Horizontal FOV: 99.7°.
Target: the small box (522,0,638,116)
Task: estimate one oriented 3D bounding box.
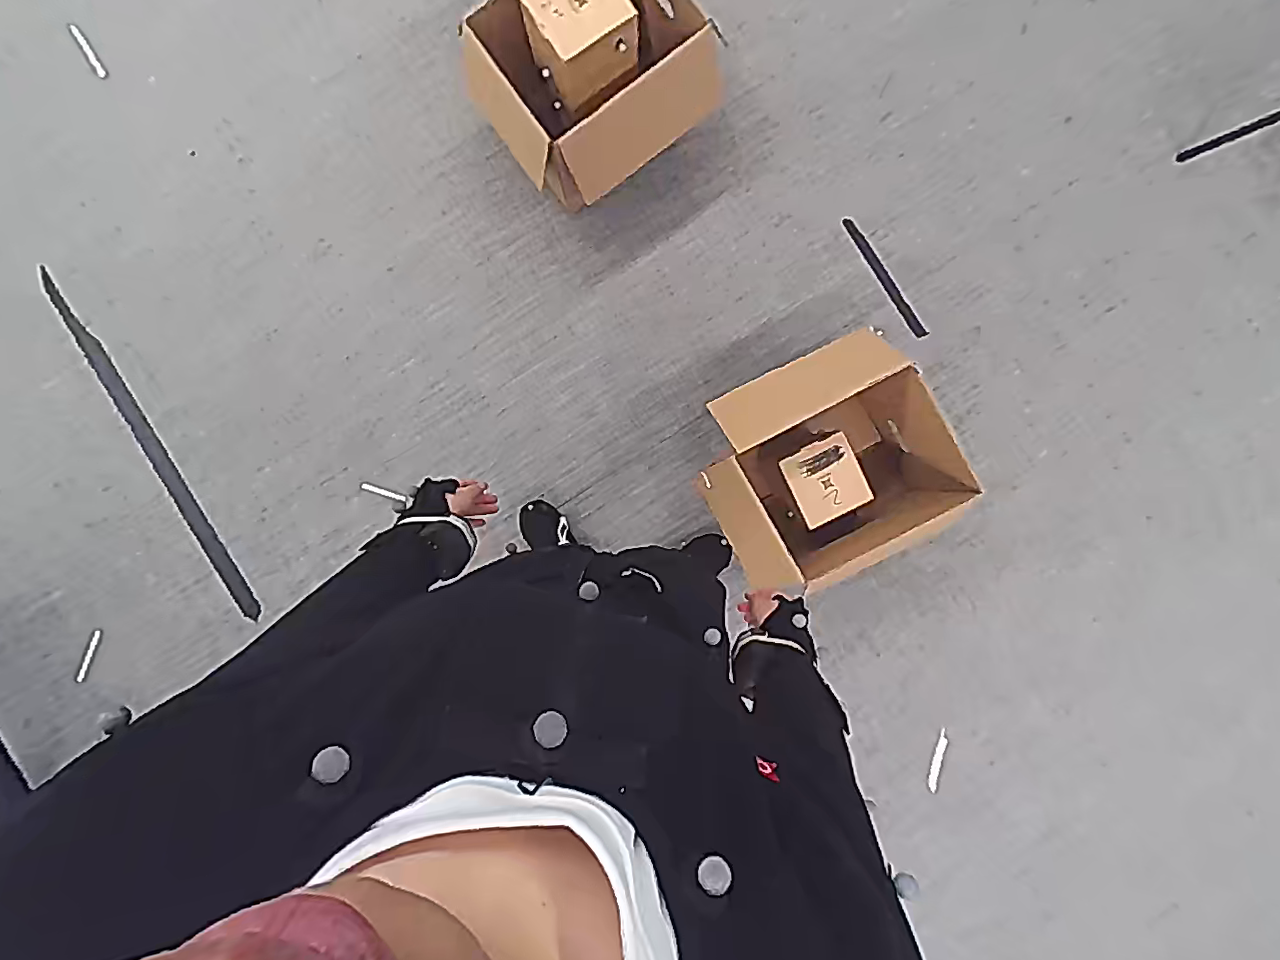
[{"bbox_3d":[-0.119,-0.922,1.131,0.179,0.176,0.168,-34,89,0],"label":"small box"}]
